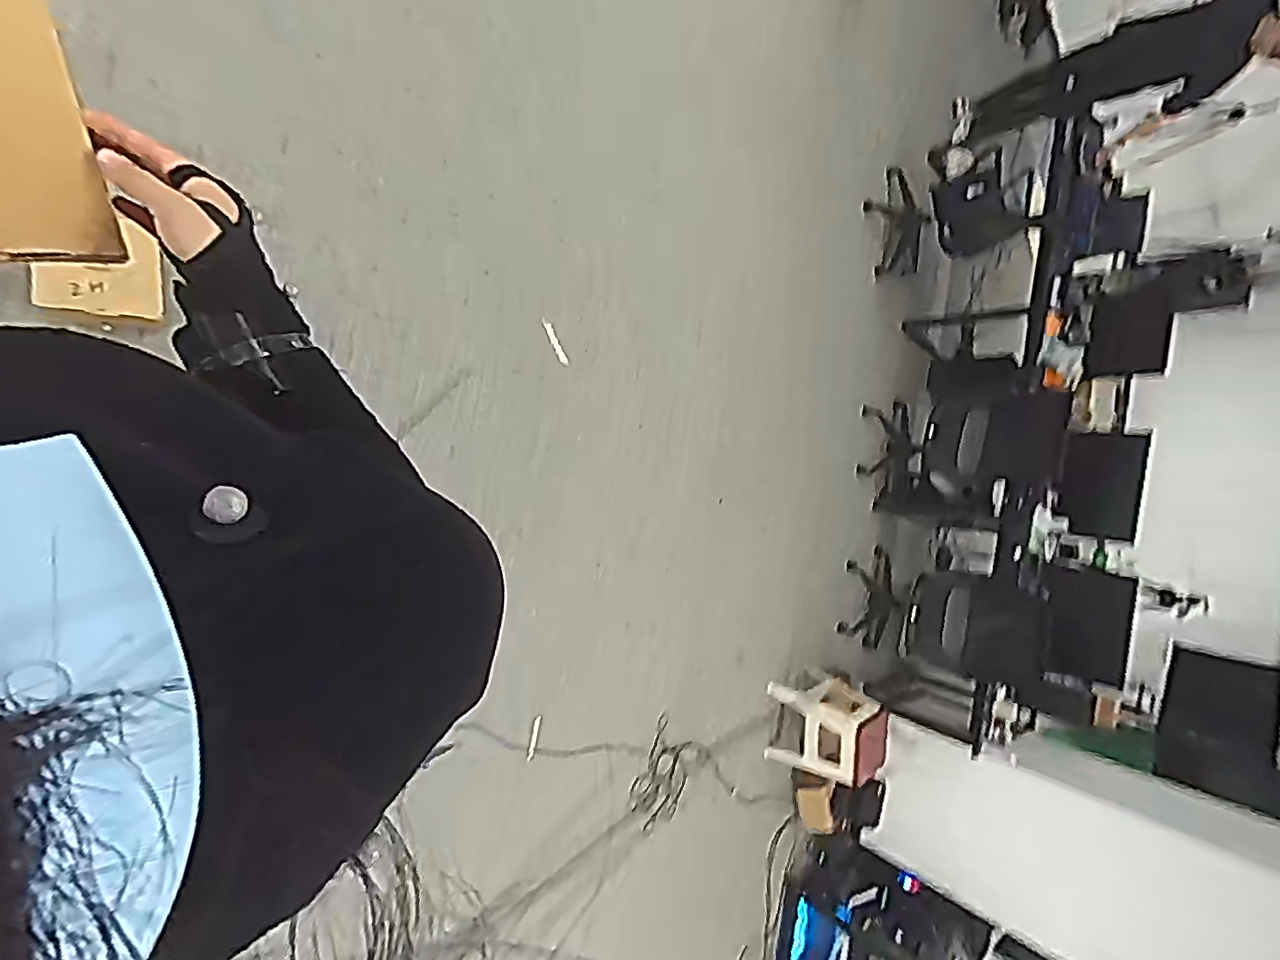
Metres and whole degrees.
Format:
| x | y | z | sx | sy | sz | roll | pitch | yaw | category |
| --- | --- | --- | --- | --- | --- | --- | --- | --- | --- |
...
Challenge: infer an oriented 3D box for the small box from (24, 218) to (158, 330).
| x | y | z | sx | sy | sz | roll | pitch | yaw | category |
| --- | --- | --- | --- | --- | --- | --- | --- | --- | --- |
| -1.007 | -0.388 | 1.001 | 0.168 | 0.176 | 0.179 | -3 | 96 | -42 | small box |

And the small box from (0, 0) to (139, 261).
| x | y | z | sx | sy | sz | roll | pitch | yaw | category |
| --- | --- | --- | --- | --- | --- | --- | --- | --- | --- |
| -0.487 | -0.247 | 0.373 | 0.168 | 0.176 | 0.179 | -19 | 120 | -39 | small box |
